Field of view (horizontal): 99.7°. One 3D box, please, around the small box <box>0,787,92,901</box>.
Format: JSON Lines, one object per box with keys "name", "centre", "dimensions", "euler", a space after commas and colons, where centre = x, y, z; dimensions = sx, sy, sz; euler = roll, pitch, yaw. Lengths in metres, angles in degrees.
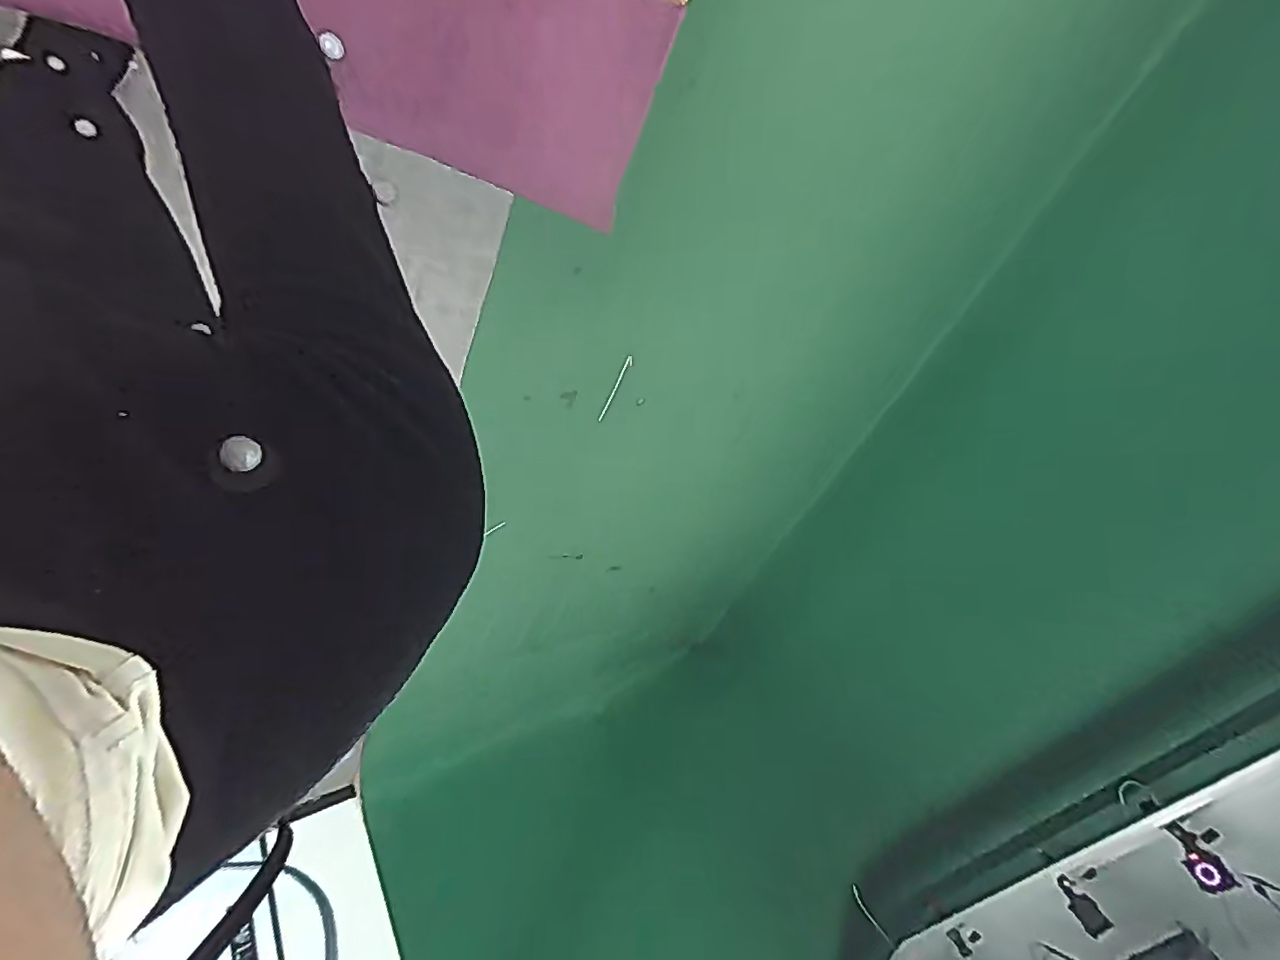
{"name": "small box", "centre": [-1.594, 0.967, 1.449], "dimensions": [0.168, 0.176, 0.179], "euler": [-1, 130, -43]}
